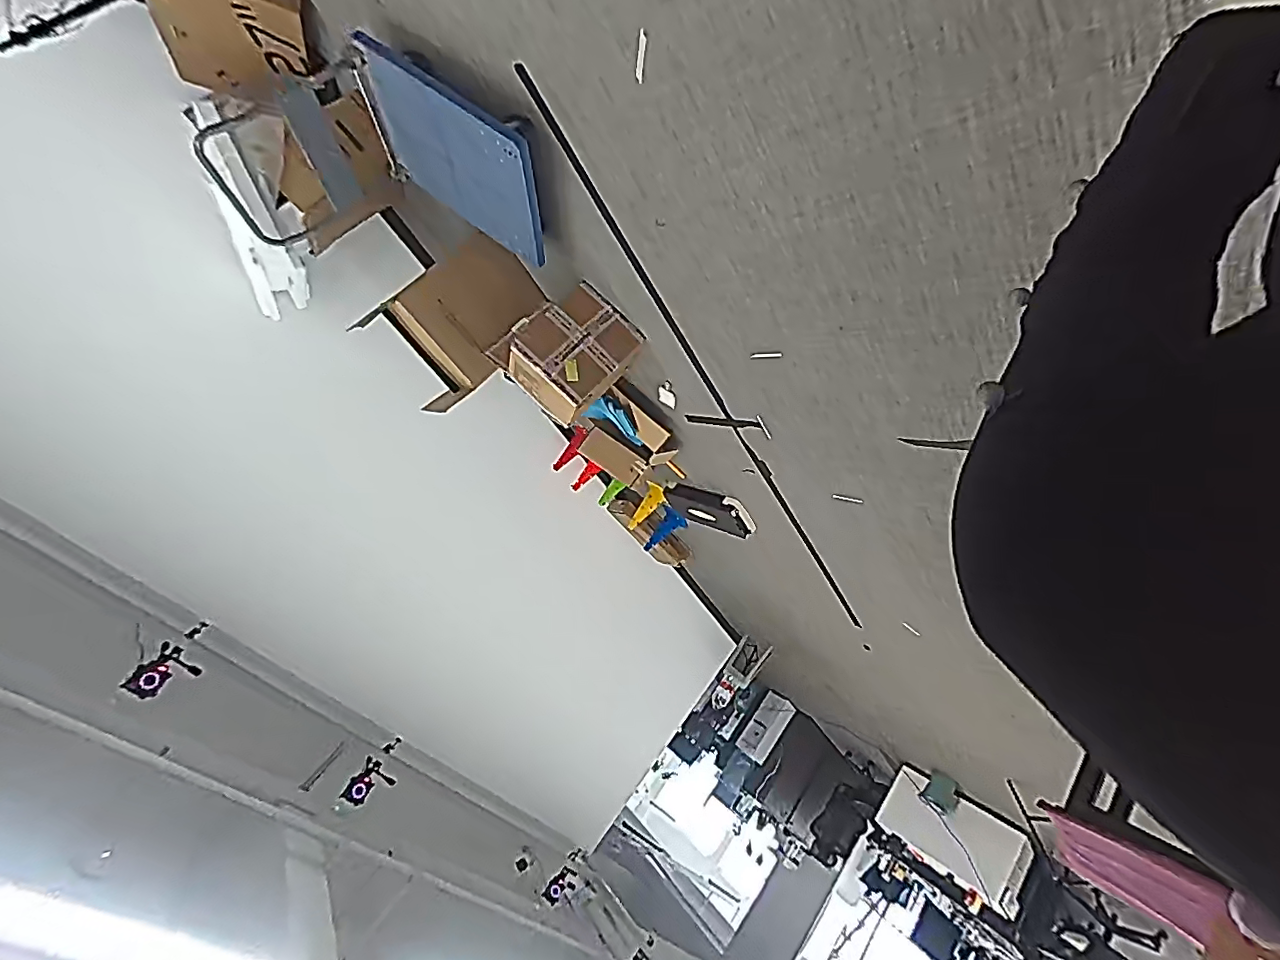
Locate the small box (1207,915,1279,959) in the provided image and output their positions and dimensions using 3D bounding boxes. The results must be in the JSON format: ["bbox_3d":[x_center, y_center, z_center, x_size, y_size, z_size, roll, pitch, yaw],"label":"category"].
[{"bbox_3d":[1.489,1.206,1.299,0.168,0.176,0.179,15,148,52],"label":"small box"}]
